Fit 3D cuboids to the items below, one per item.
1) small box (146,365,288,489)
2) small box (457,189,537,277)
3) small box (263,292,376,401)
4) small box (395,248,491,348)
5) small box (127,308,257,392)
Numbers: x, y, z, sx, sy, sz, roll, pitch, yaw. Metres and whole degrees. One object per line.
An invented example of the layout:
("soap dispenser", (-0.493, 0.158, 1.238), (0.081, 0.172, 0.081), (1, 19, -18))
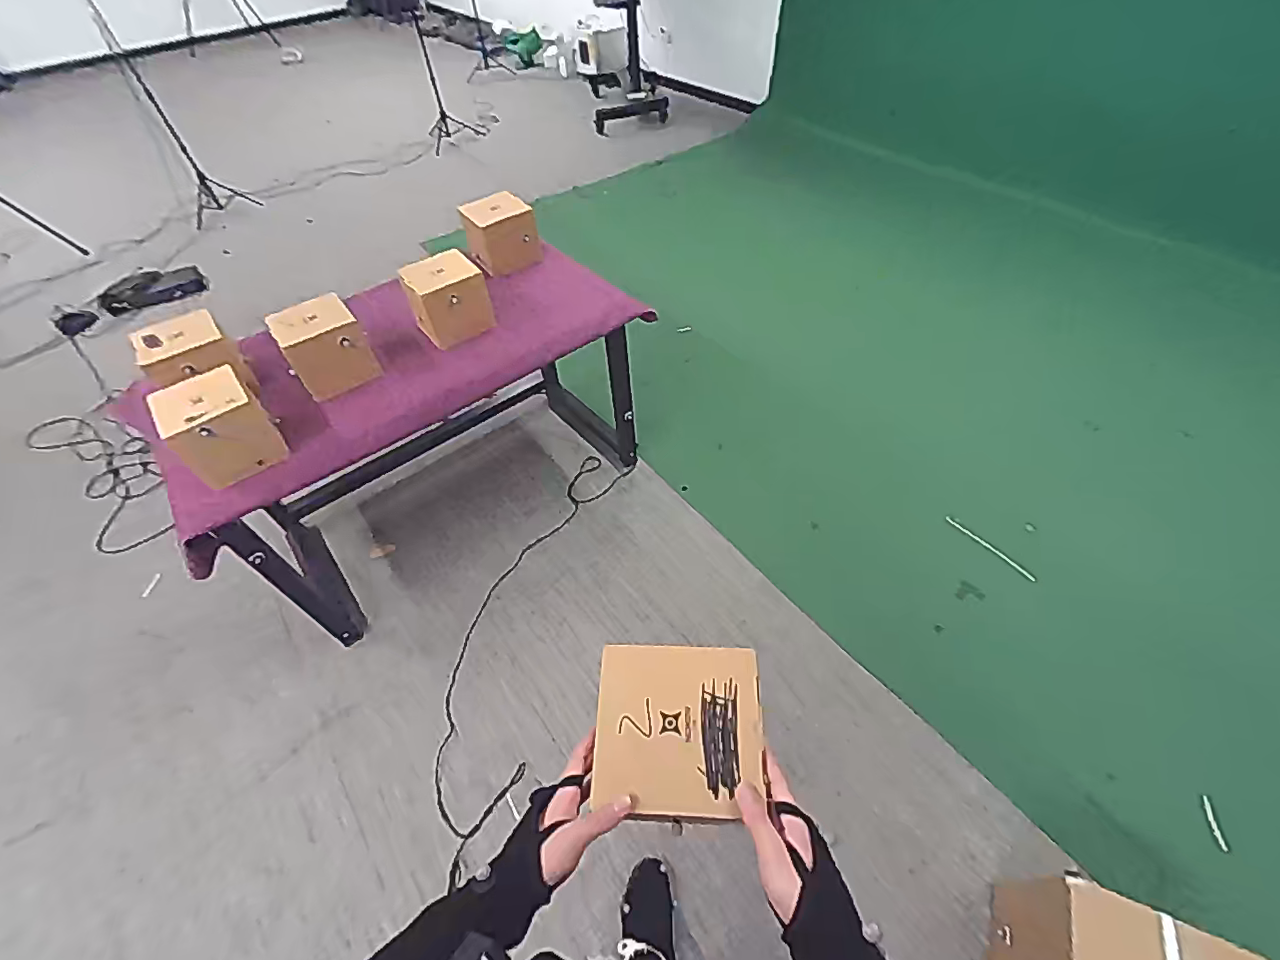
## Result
("small box", (-0.911, -0.113, 1.173), (0.168, 0.176, 0.179), (-34, 55, -22))
("small box", (-0.434, -0.763, 1.674), (0.179, 0.176, 0.168), (-32, 57, -20))
("small box", (-0.785, -0.331, 1.344), (0.179, 0.176, 0.168), (-32, 56, -21))
("small box", (-0.521, -0.490, 1.462), (0.179, 0.176, 0.168), (-33, 57, -20))
("small box", (-1.090, -0.285, 1.325), (0.179, 0.176, 0.168), (-32, 57, -22))
